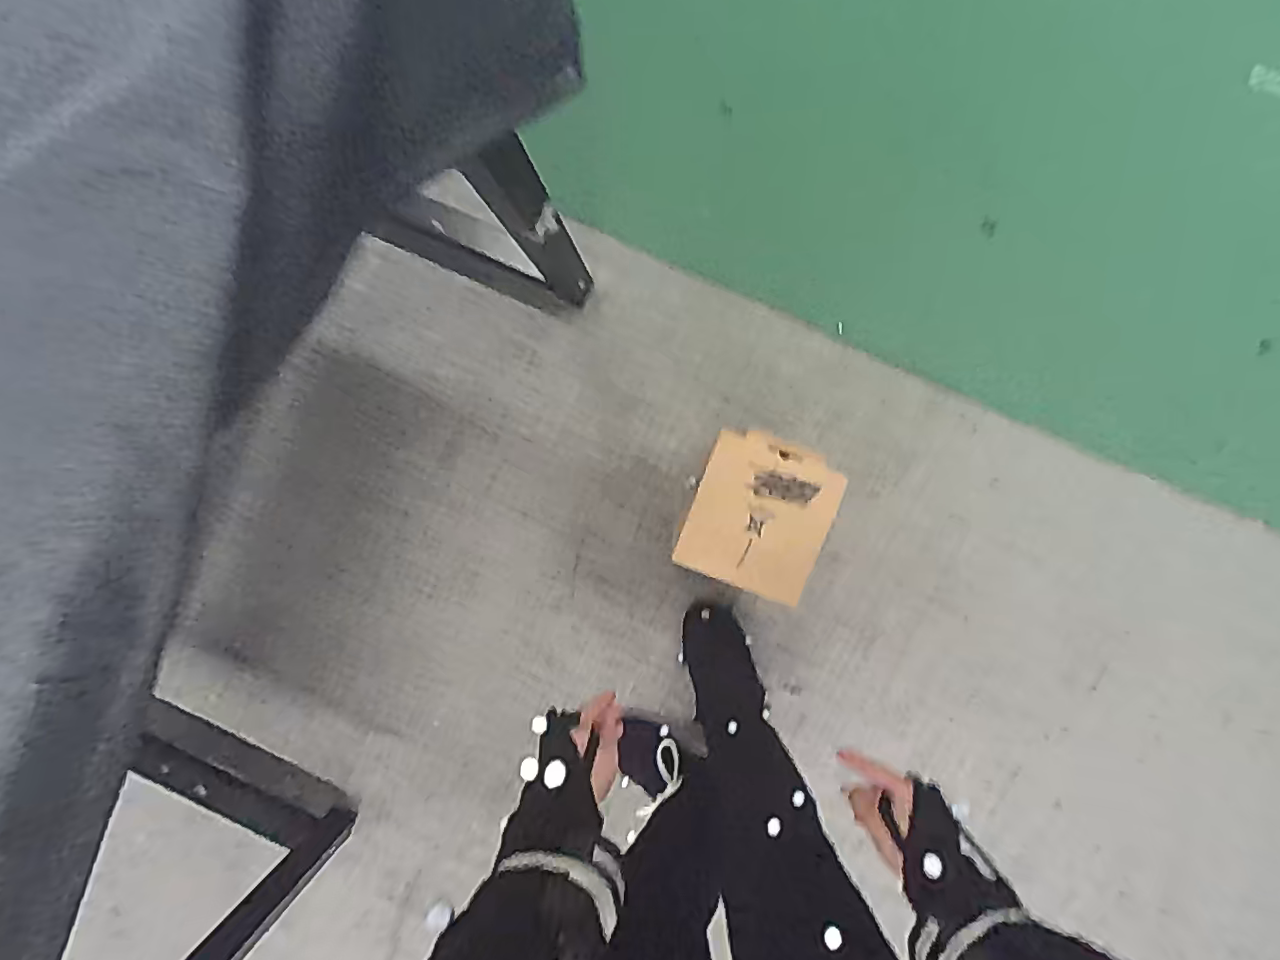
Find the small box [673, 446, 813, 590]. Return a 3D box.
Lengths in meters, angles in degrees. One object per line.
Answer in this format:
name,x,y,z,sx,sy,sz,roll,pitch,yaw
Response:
small box,0.160,0.056,0.895,0.168,0.176,0.179,22,93,4
